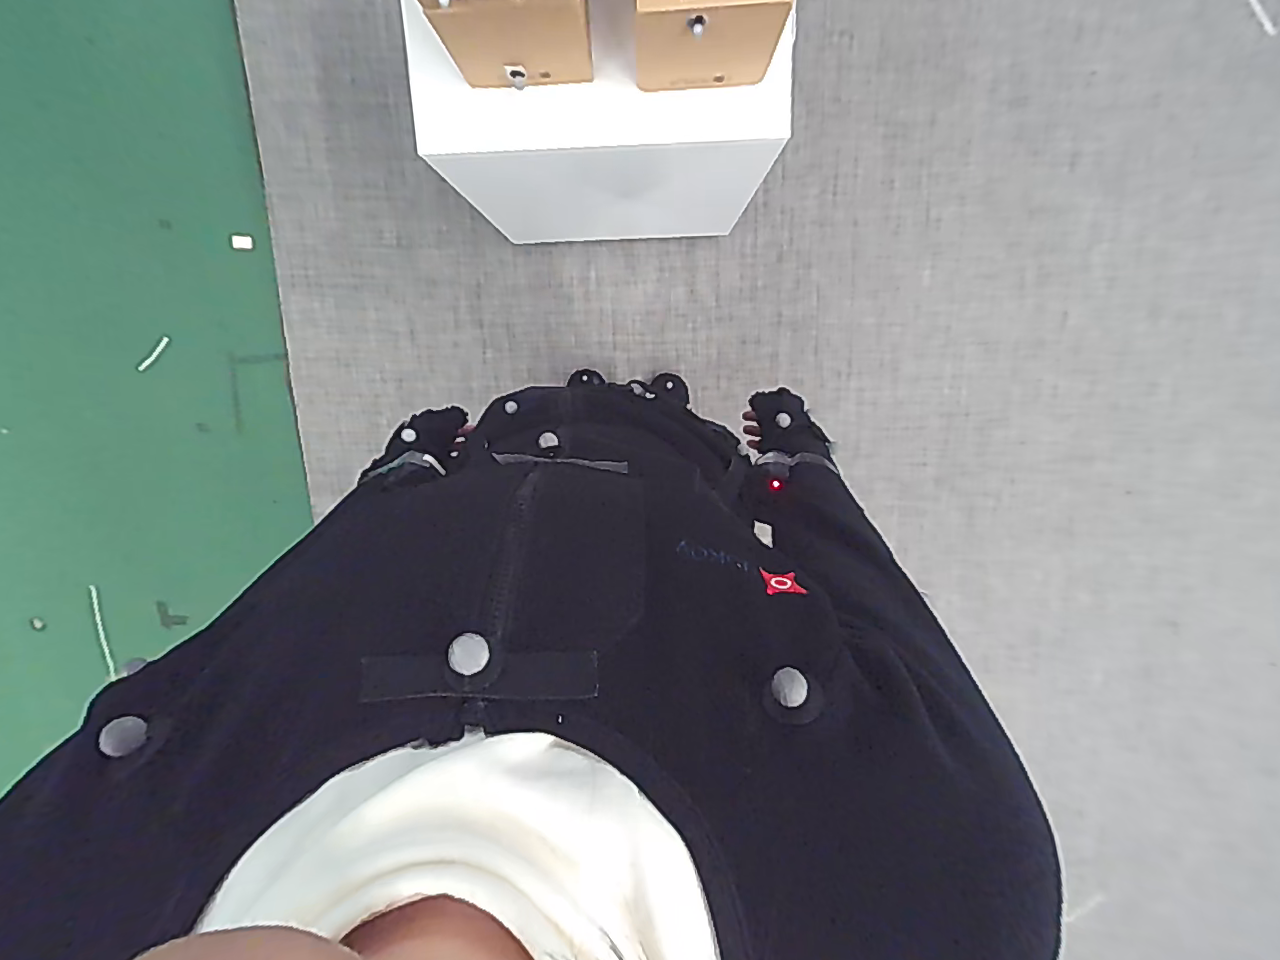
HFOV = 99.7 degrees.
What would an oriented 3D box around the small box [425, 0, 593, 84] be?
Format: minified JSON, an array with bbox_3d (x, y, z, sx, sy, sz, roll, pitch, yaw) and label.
[{"bbox_3d":[-0.148,-0.593,0.613,0.168,0.176,0.179,-4,103,2],"label":"small box"}]

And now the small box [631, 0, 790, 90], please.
[{"bbox_3d":[0.072,-0.592,0.624,0.168,0.176,0.179,-2,101,1],"label":"small box"}]
